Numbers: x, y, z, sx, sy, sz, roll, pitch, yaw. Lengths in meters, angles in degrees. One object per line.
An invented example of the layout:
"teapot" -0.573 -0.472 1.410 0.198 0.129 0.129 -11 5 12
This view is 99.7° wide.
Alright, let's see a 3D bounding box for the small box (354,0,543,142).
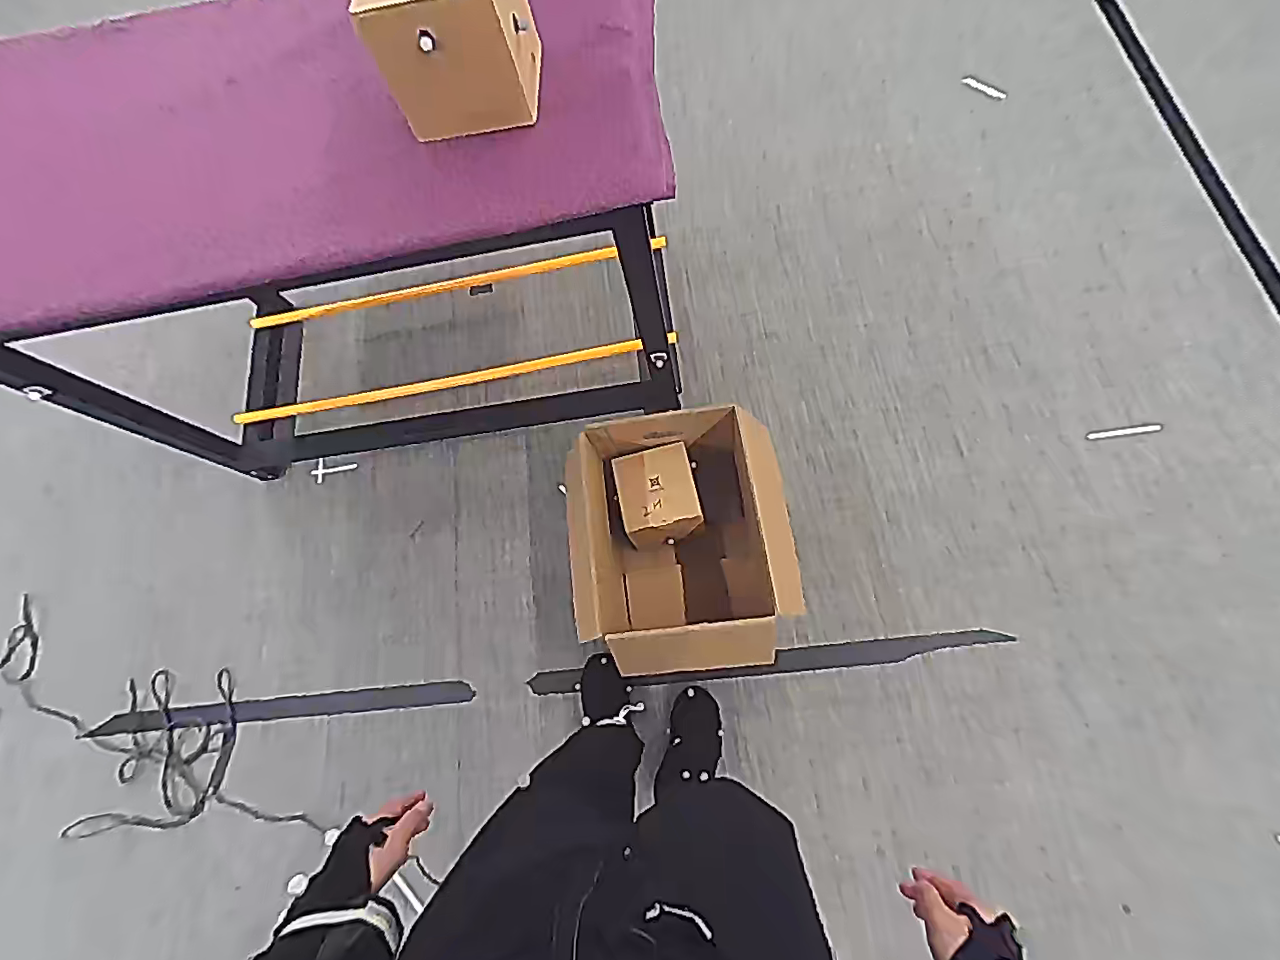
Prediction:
"small box" -0.237 -0.590 0.719 0.179 0.176 0.168 -4 71 8
